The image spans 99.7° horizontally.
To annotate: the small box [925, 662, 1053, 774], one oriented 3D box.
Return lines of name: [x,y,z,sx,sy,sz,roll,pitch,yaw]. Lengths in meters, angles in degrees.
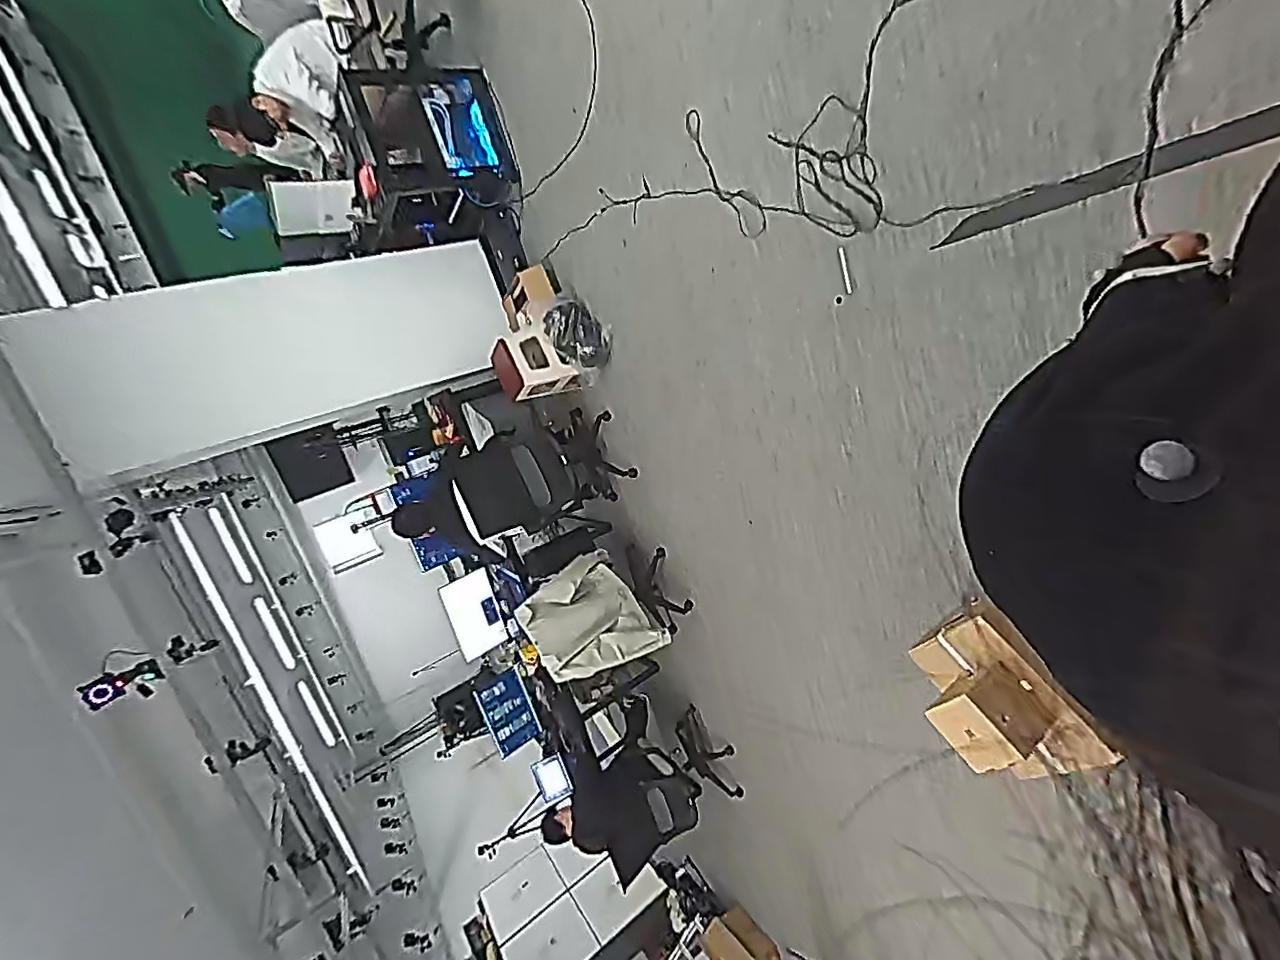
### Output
small box: [0.873,0.592,1.353,0.179,0.176,0.168,52,148,25]
